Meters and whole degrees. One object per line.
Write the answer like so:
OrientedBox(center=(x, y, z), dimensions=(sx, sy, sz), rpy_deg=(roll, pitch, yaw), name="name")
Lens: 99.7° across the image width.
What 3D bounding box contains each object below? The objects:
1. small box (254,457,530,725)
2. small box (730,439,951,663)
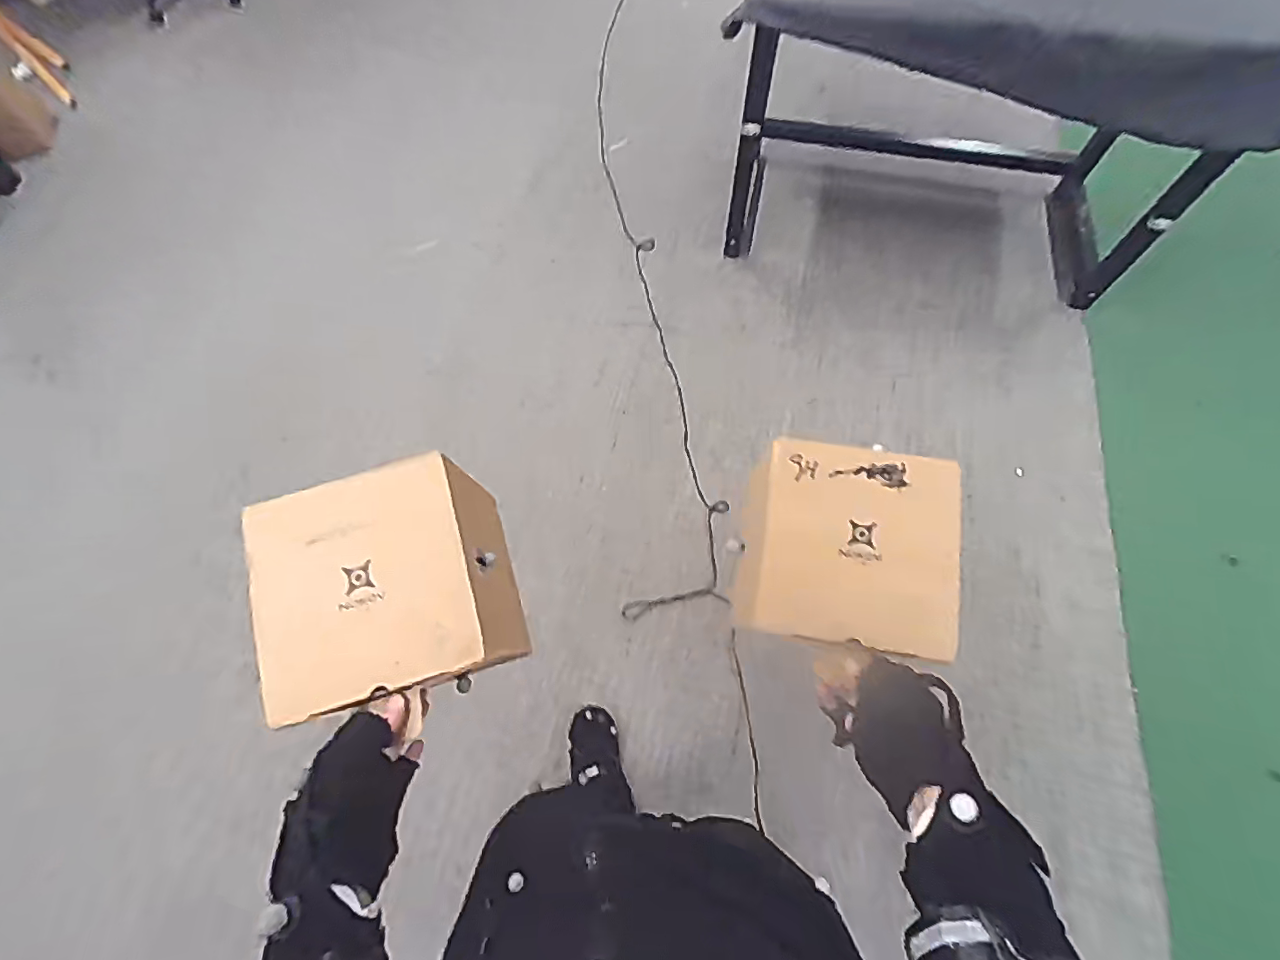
OrientedBox(center=(-0.215, 0.103, 0.506), dimensions=(0.168, 0.176, 0.179), rpy_deg=(-18, 74, -4), name="small box")
OrientedBox(center=(0.189, 0.075, 0.552), dimensions=(0.168, 0.176, 0.179), rpy_deg=(9, 77, 5), name="small box")
